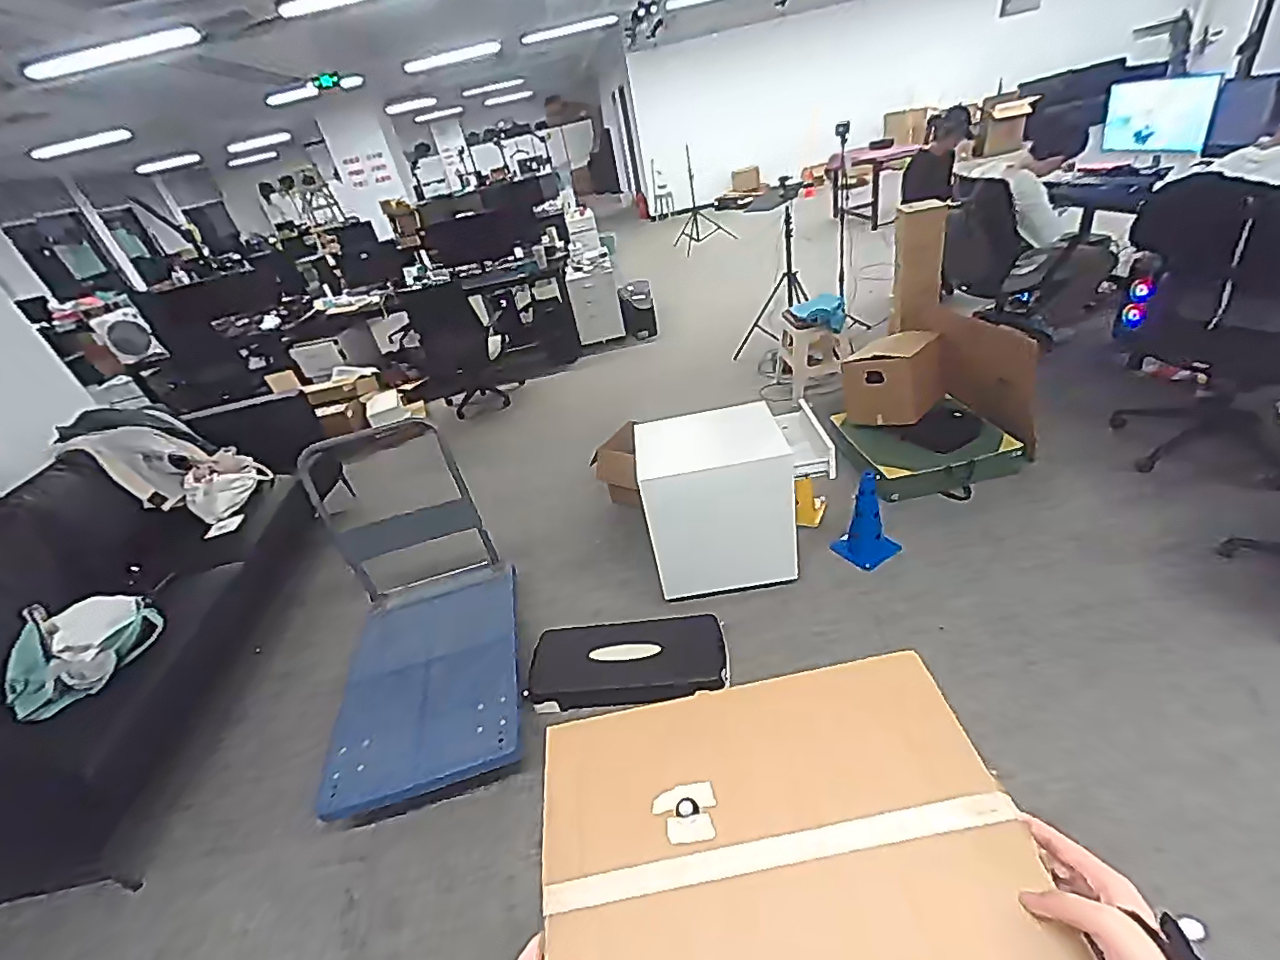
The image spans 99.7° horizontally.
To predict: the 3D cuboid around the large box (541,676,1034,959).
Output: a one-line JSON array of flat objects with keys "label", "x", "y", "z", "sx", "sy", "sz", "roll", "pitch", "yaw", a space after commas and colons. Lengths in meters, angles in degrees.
[{"label": "large box", "x": 0.144, "y": 0.425, "z": 0.591, "sx": 0.408, "sy": 0.320, "sz": 0.320, "roll": -9, "pitch": 54, "yaw": 13}]
